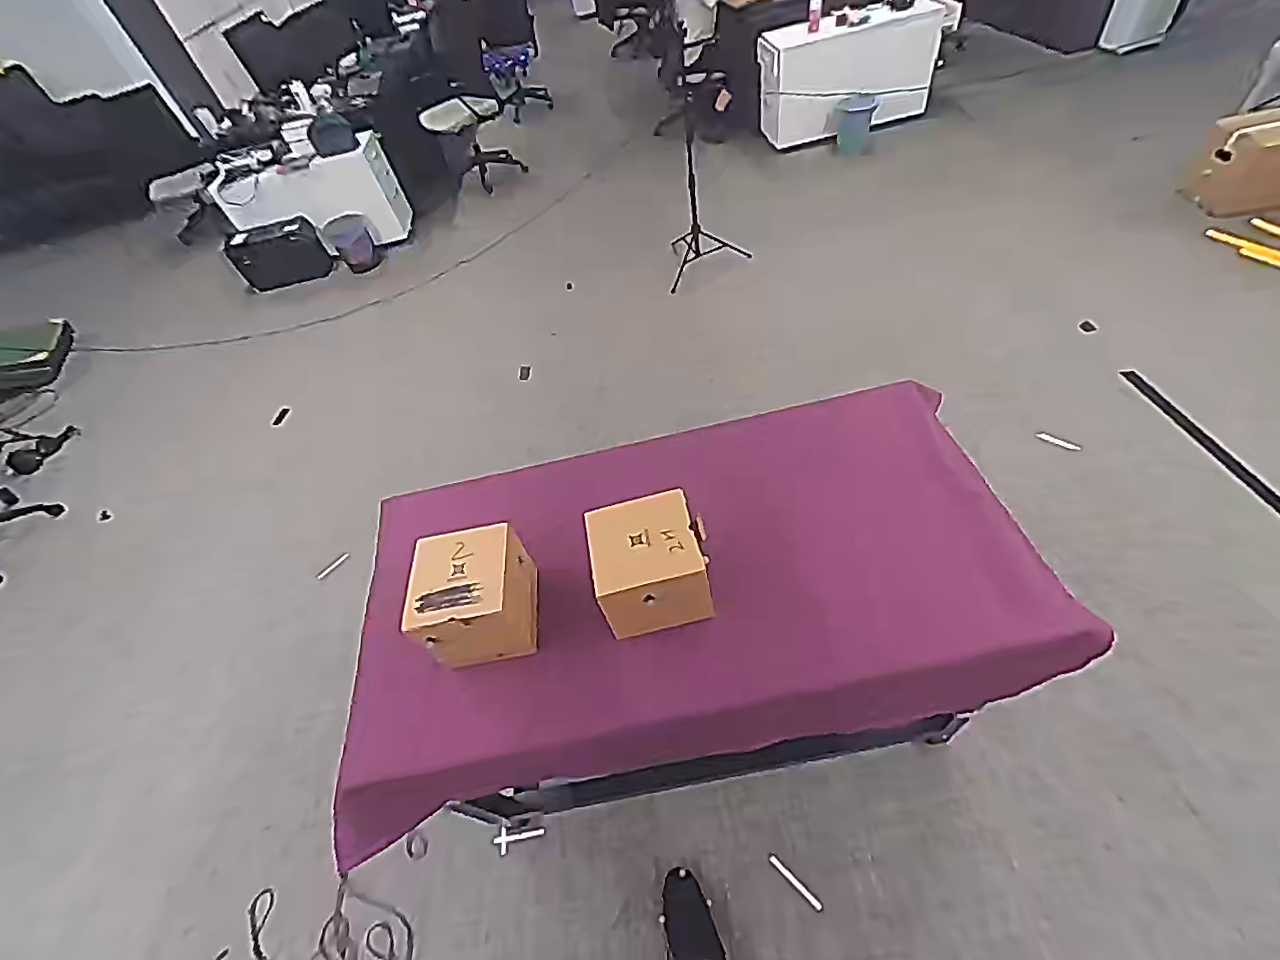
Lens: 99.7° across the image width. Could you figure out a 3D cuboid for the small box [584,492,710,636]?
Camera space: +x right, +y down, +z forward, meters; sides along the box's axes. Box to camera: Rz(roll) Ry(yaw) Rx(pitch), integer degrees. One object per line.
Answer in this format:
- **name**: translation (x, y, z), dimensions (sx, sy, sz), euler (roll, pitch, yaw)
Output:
- **small box**: translation (0.014, 0.151, 0.937), dimensions (0.179, 0.176, 0.168), euler (-14, 50, 1)
